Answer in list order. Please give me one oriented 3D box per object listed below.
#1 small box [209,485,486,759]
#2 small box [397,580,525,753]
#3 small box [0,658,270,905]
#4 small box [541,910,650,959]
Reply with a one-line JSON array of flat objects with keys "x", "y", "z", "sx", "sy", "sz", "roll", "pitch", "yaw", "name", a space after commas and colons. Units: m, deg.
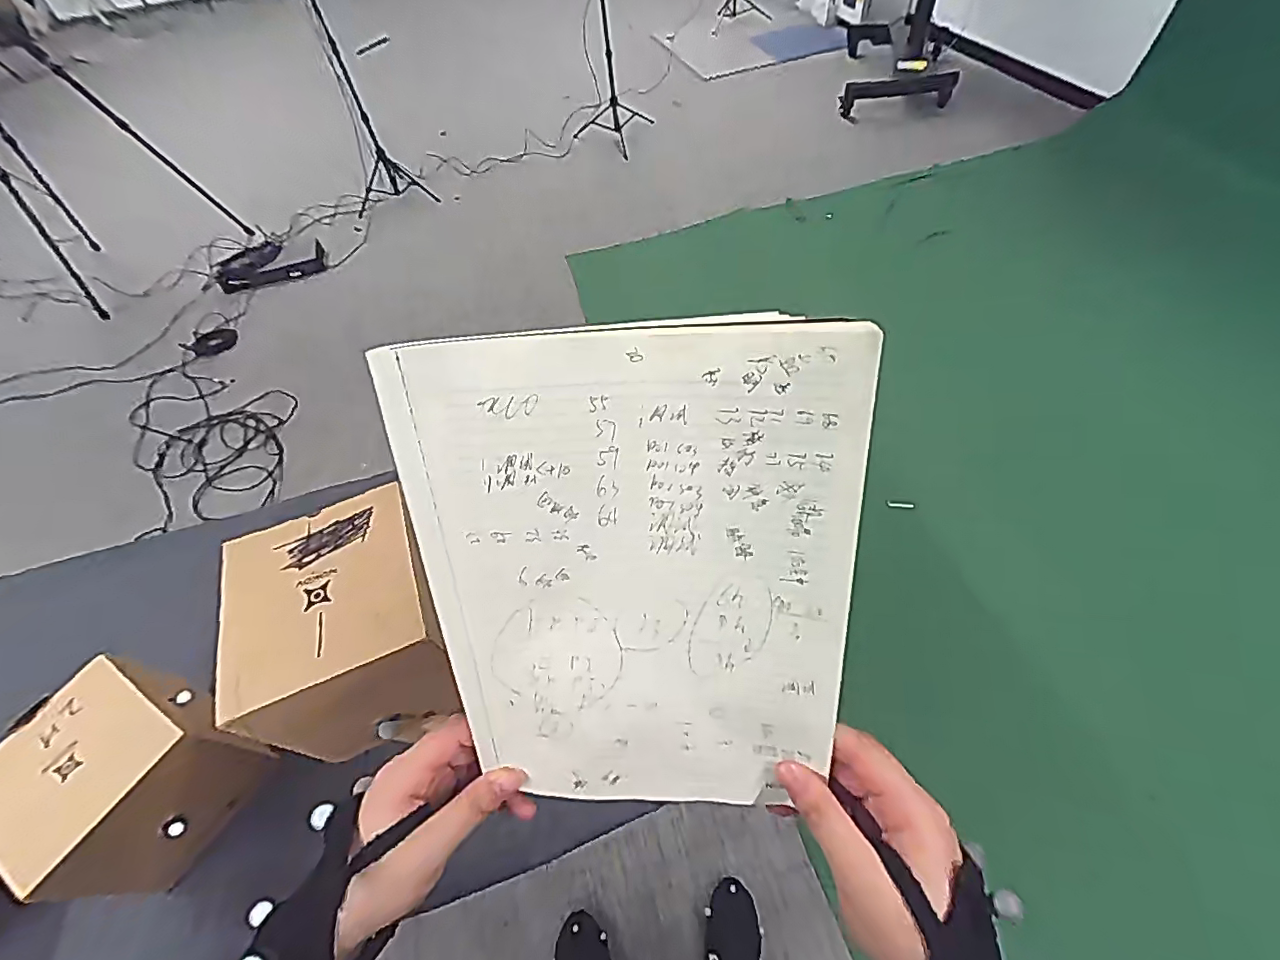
[{"x": -0.269, "y": 0.141, "z": 0.526, "sx": 0.168, "sy": 0.176, "sz": 0.179, "roll": -22, "pitch": 55, "yaw": -9, "name": "small box"}, {"x": -0.260, "y": 0.225, "z": 0.668, "sx": 0.179, "sy": 0.176, "sz": 0.168, "roll": 5, "pitch": 55, "yaw": 11, "name": "small box"}, {"x": -0.582, "y": 0.339, "z": 0.619, "sx": 0.179, "sy": 0.176, "sz": 0.168, "roll": 23, "pitch": 59, "yaw": 21, "name": "small box"}, {"x": -0.089, "y": 0.952, "z": 1.006, "sx": 0.176, "sy": 0.168, "sz": 0.179, "roll": 44, "pitch": 39, "yaw": 0, "name": "small box"}]
